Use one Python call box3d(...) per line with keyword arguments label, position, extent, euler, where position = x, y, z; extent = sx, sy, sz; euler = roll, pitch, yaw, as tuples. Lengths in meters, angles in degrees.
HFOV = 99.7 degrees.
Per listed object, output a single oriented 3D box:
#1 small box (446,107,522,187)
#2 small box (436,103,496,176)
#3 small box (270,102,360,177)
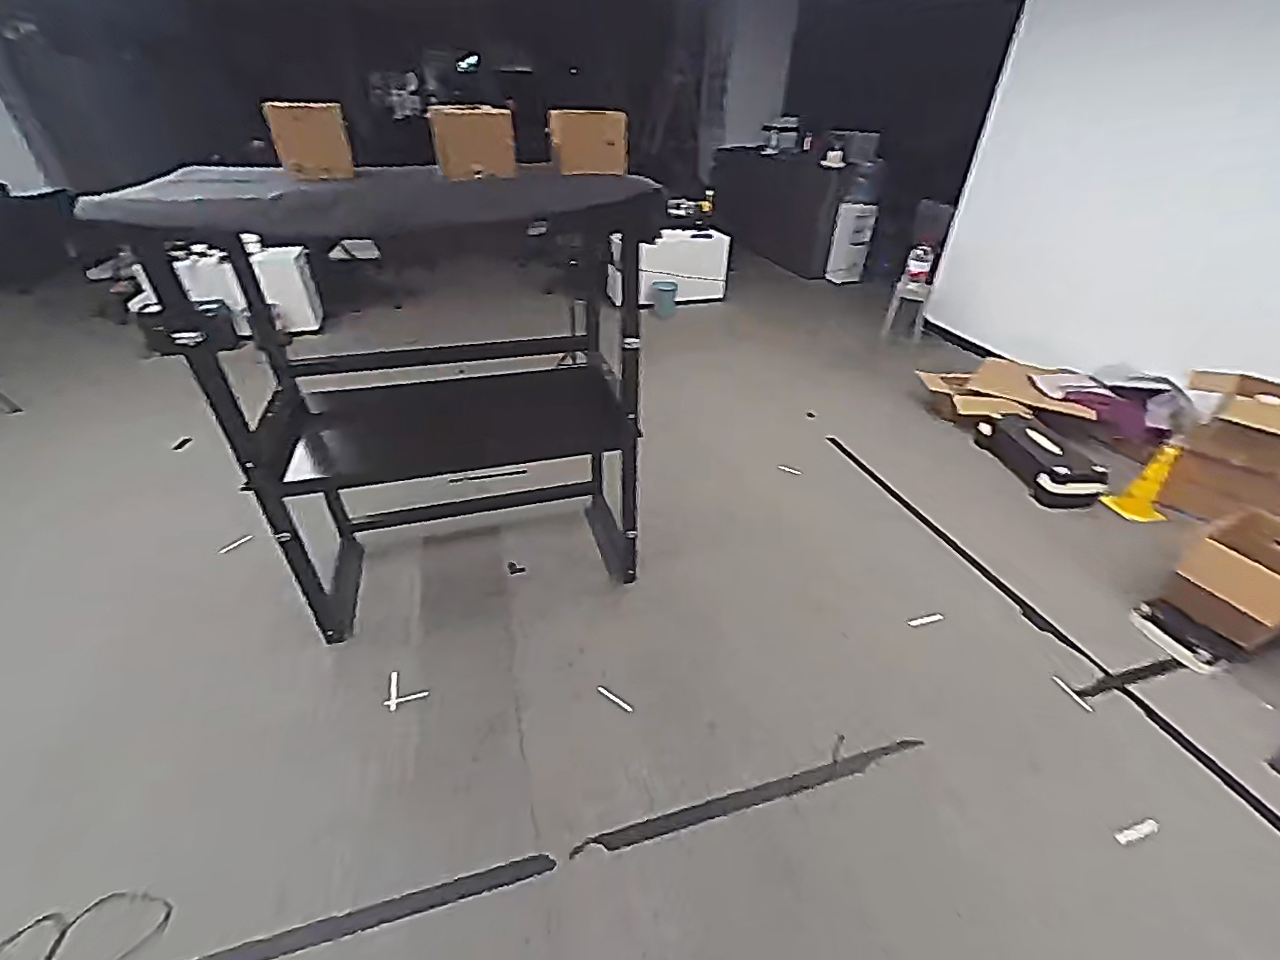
box3d(label="small box", position=(-0.410, -0.881, 1.428), extent=(0.168, 0.176, 0.179), euler=(-9, 36, -13))
box3d(label="small box", position=(-0.503, -1.012, 1.608), extent=(0.179, 0.176, 0.168), euler=(-9, 37, -15))
box3d(label="small box", position=(-0.889, -0.943, 1.496), extent=(0.168, 0.176, 0.179), euler=(-11, 37, -18))
